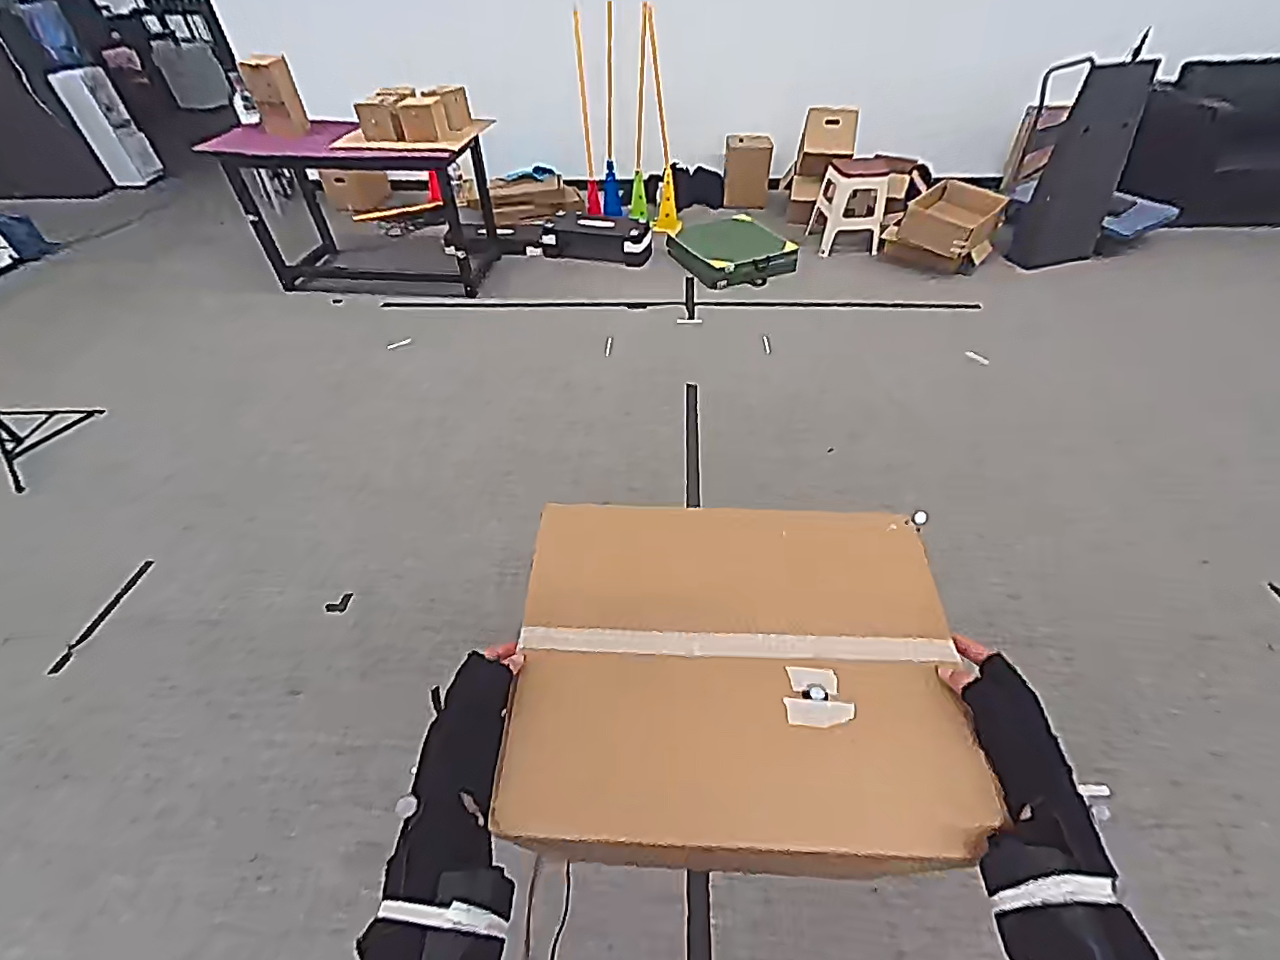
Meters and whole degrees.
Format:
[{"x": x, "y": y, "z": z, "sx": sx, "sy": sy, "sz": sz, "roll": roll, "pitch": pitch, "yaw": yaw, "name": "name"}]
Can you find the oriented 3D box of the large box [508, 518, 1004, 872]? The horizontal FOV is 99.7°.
[{"x": 0.095, "y": 0.258, "z": 0.636, "sx": 0.408, "sy": 0.320, "sz": 0.320, "roll": 2, "pitch": 53, "yaw": 2, "name": "large box"}]
